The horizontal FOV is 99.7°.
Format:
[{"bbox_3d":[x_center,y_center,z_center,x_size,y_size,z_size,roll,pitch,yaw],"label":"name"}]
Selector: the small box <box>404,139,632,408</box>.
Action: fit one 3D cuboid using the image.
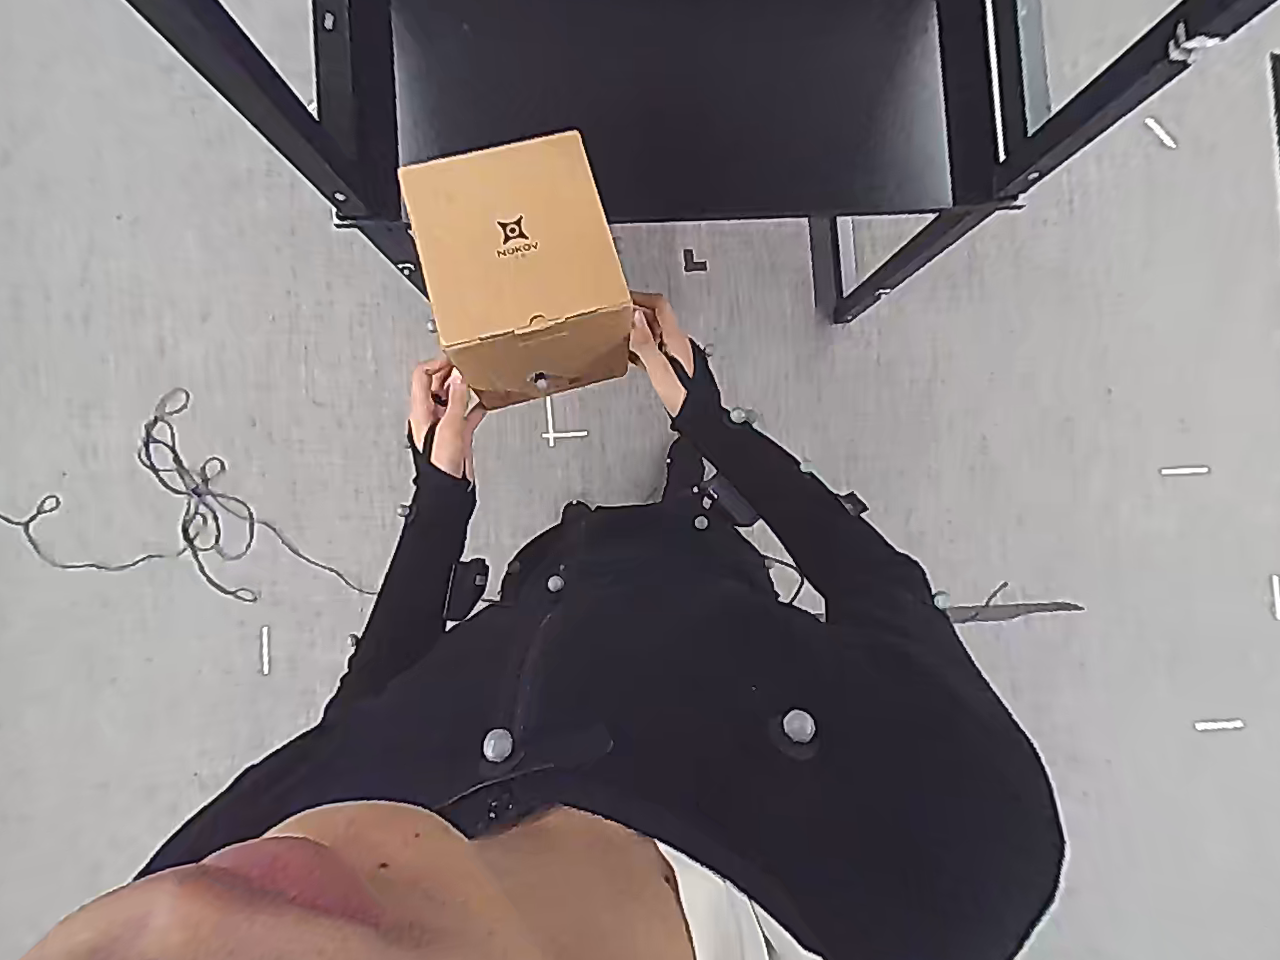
[{"bbox_3d":[-0.112,-0.193,0.545,0.168,0.176,0.179,-15,81,-6],"label":"small box"}]
